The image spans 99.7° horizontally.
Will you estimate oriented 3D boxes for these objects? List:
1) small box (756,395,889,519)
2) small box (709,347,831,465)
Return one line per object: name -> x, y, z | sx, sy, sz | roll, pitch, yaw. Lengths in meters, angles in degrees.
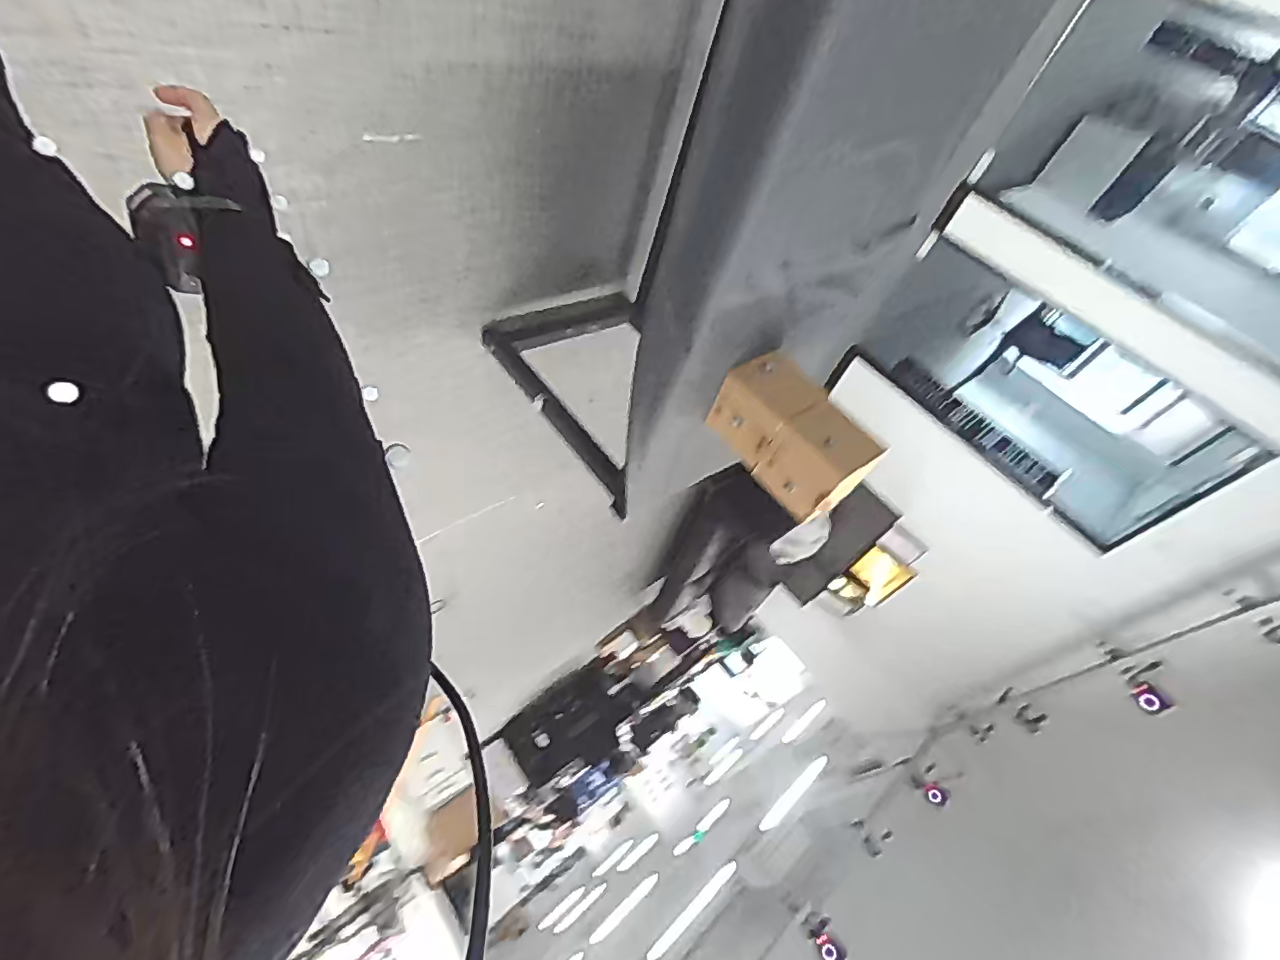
small box -> 0.383, -0.053, 1.162 | 0.179, 0.176, 0.168 | -27, 155, -34
small box -> 0.284, -0.170, 1.217 | 0.179, 0.176, 0.168 | -27, 155, -31
